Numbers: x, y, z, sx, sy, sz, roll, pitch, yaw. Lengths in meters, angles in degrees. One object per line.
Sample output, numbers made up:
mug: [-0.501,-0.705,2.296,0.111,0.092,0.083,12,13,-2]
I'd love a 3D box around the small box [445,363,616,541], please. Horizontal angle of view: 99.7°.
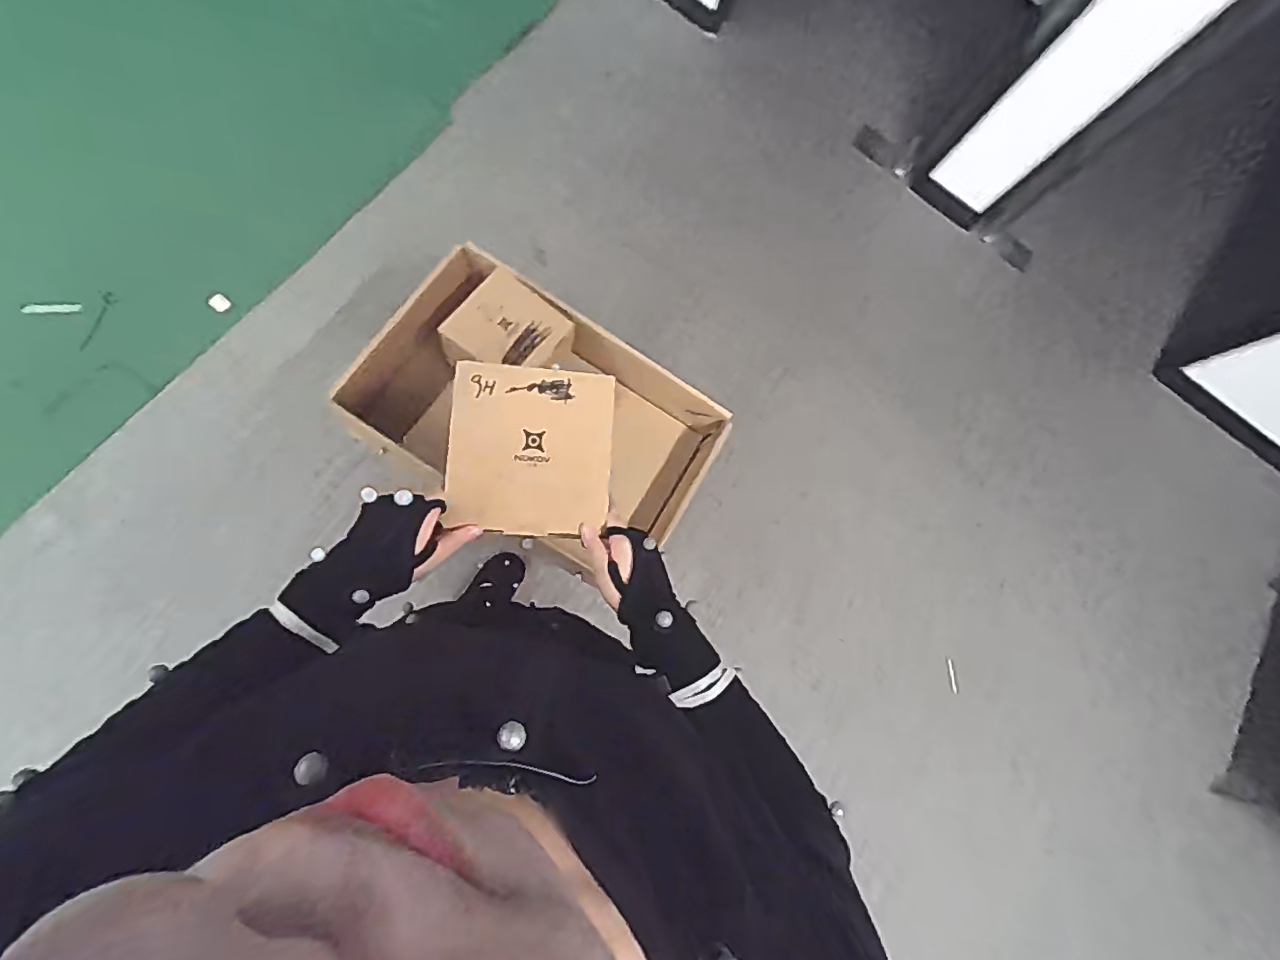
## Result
small box: [-0.123,-0.022,0.636,0.168,0.176,0.179,4,84,-10]
